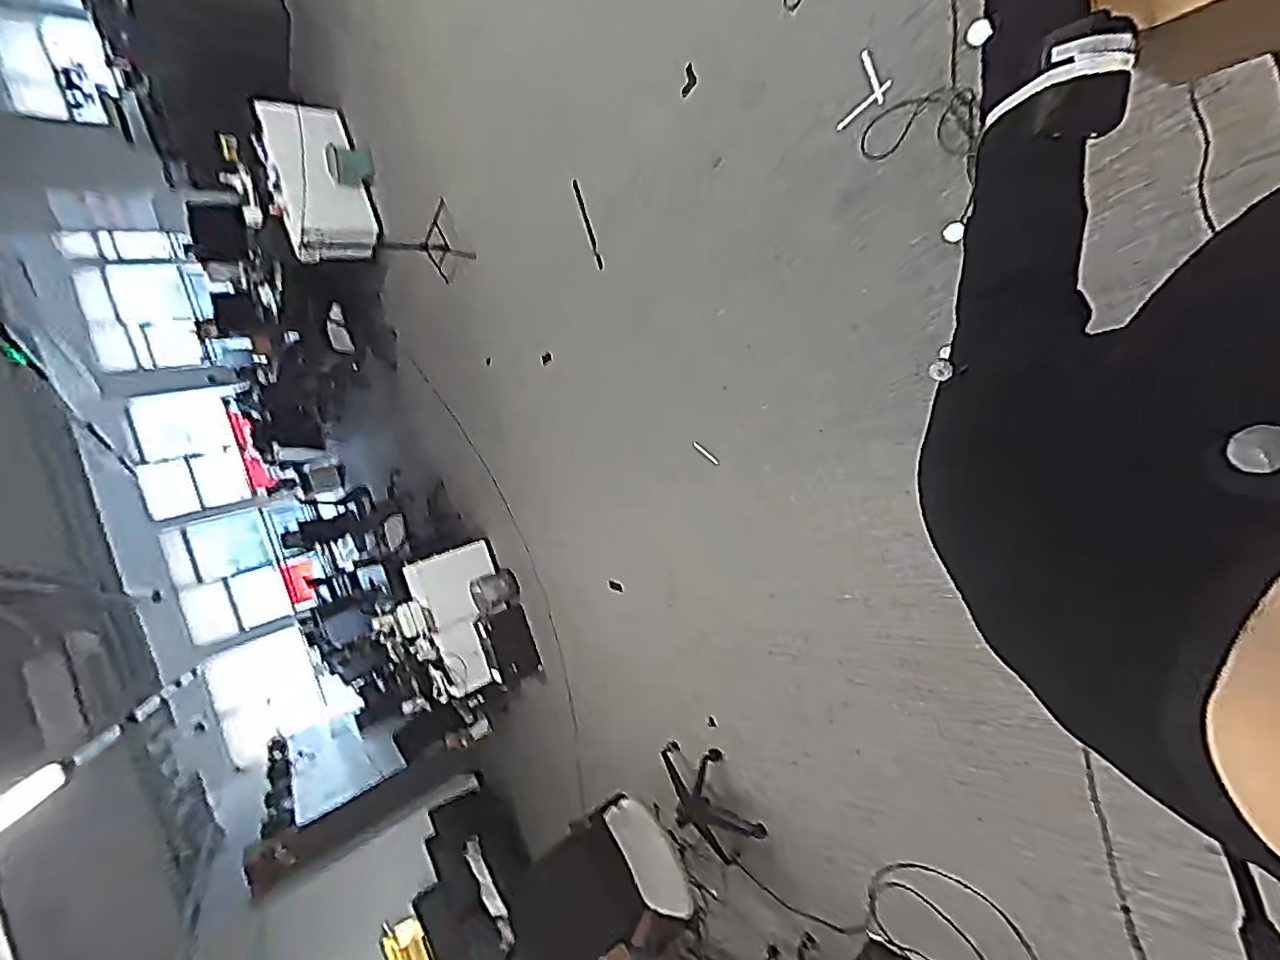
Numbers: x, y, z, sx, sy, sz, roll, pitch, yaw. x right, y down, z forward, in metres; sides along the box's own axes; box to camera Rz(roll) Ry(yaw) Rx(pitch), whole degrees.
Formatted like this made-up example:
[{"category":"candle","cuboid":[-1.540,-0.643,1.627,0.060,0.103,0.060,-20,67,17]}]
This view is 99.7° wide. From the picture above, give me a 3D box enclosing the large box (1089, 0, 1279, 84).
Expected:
[{"category":"large box","cuboid":[0.522,-0.500,0.292,0.408,0.320,0.320,3,113,51]}]
